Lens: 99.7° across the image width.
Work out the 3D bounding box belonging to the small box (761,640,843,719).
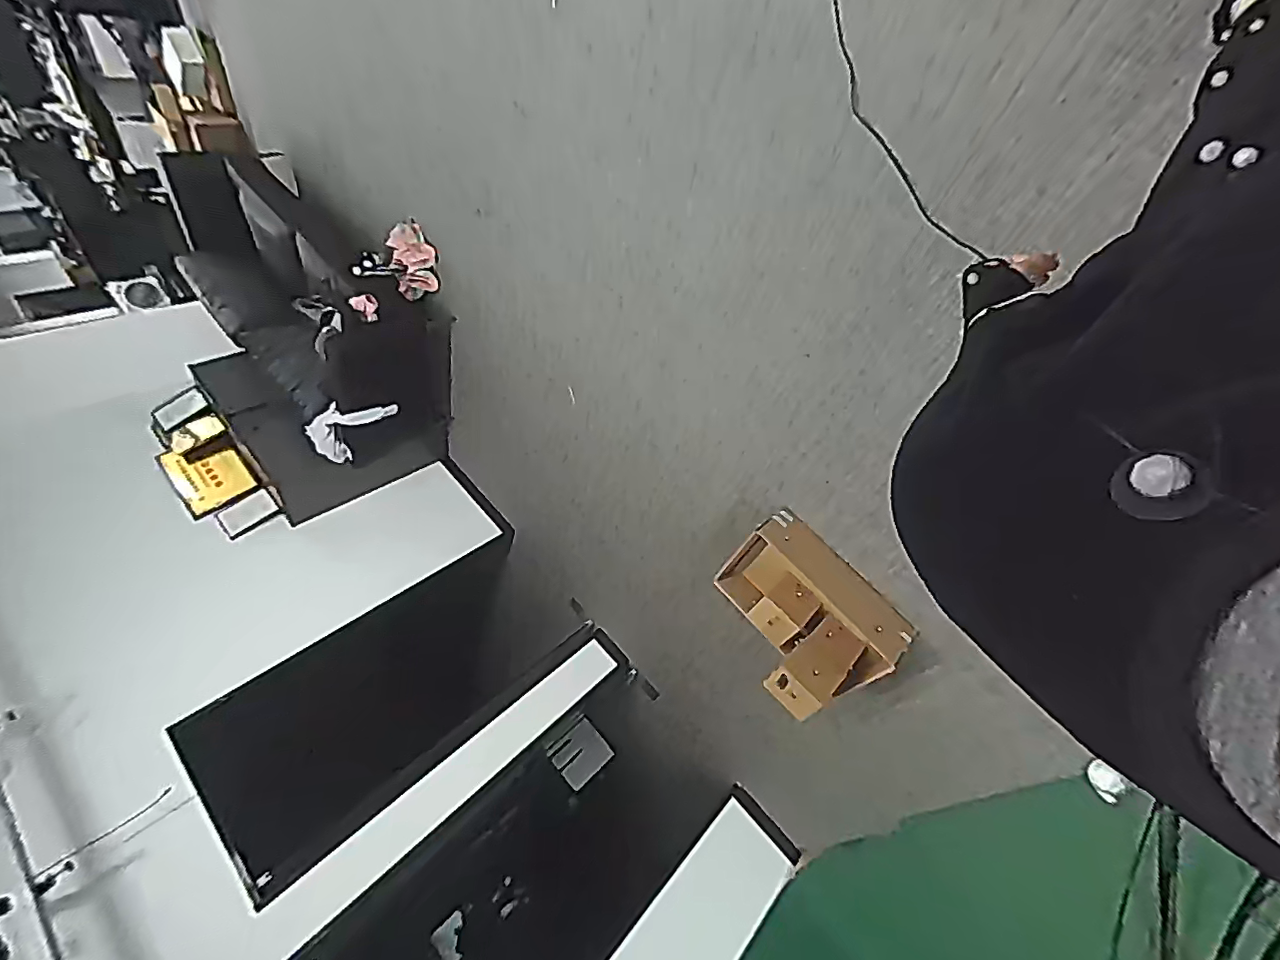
[{"bbox_3d":[0.560,0.678,1.865,0.179,0.176,0.168,43,140,20],"label":"small box"}]

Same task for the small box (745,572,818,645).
[{"bbox_3d":[0.535,0.480,2.031,0.168,0.176,0.179,45,141,16],"label":"small box"}]
